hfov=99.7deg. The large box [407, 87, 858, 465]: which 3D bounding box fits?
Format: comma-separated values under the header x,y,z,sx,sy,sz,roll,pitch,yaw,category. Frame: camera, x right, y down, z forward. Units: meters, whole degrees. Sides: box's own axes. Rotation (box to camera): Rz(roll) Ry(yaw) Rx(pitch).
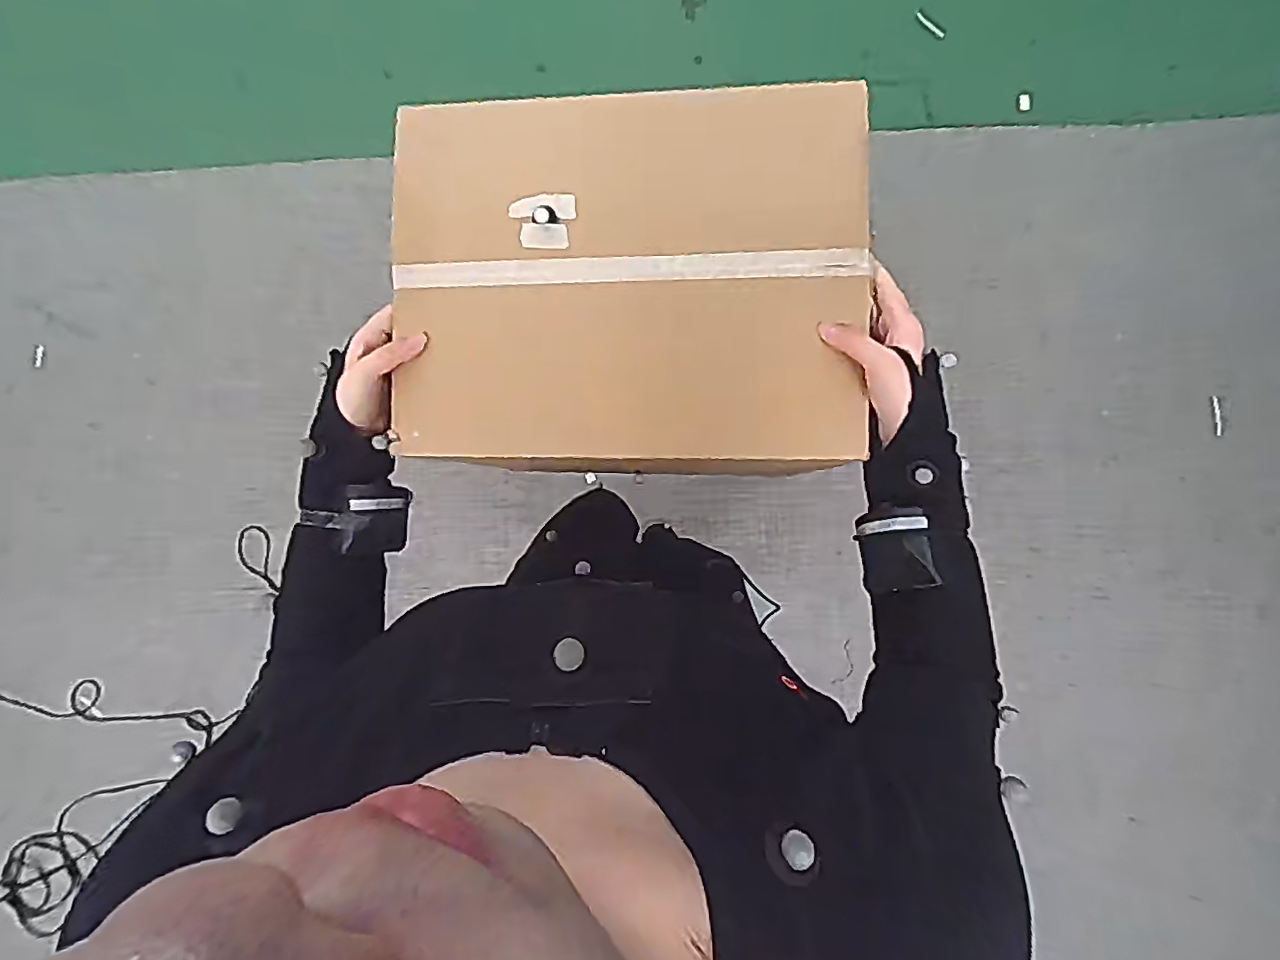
x,y,z,sx,sy,sz,roll,pitch,yaw,category
0.004,-0.174,0.622,0.408,0.320,0.320,0,89,7,large box
